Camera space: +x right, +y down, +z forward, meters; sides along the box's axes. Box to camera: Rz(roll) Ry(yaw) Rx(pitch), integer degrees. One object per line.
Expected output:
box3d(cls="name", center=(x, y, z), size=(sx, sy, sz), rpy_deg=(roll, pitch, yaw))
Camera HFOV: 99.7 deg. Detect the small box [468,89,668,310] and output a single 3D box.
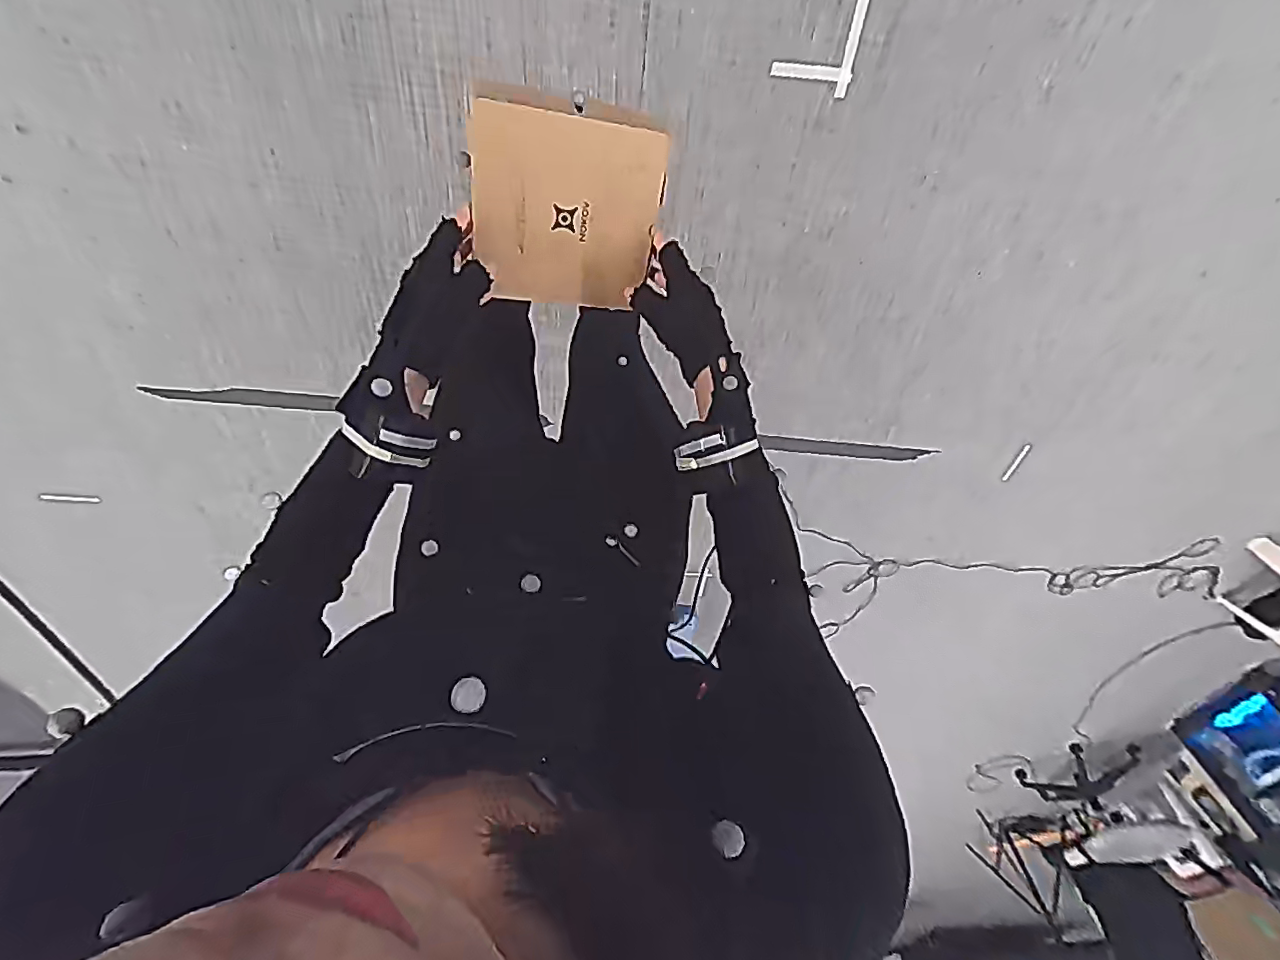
box3d(cls="small box", center=(-0.089, -0.297, 0.572), size=(0.179, 0.176, 0.168), rpy_deg=(1, 127, -16))
